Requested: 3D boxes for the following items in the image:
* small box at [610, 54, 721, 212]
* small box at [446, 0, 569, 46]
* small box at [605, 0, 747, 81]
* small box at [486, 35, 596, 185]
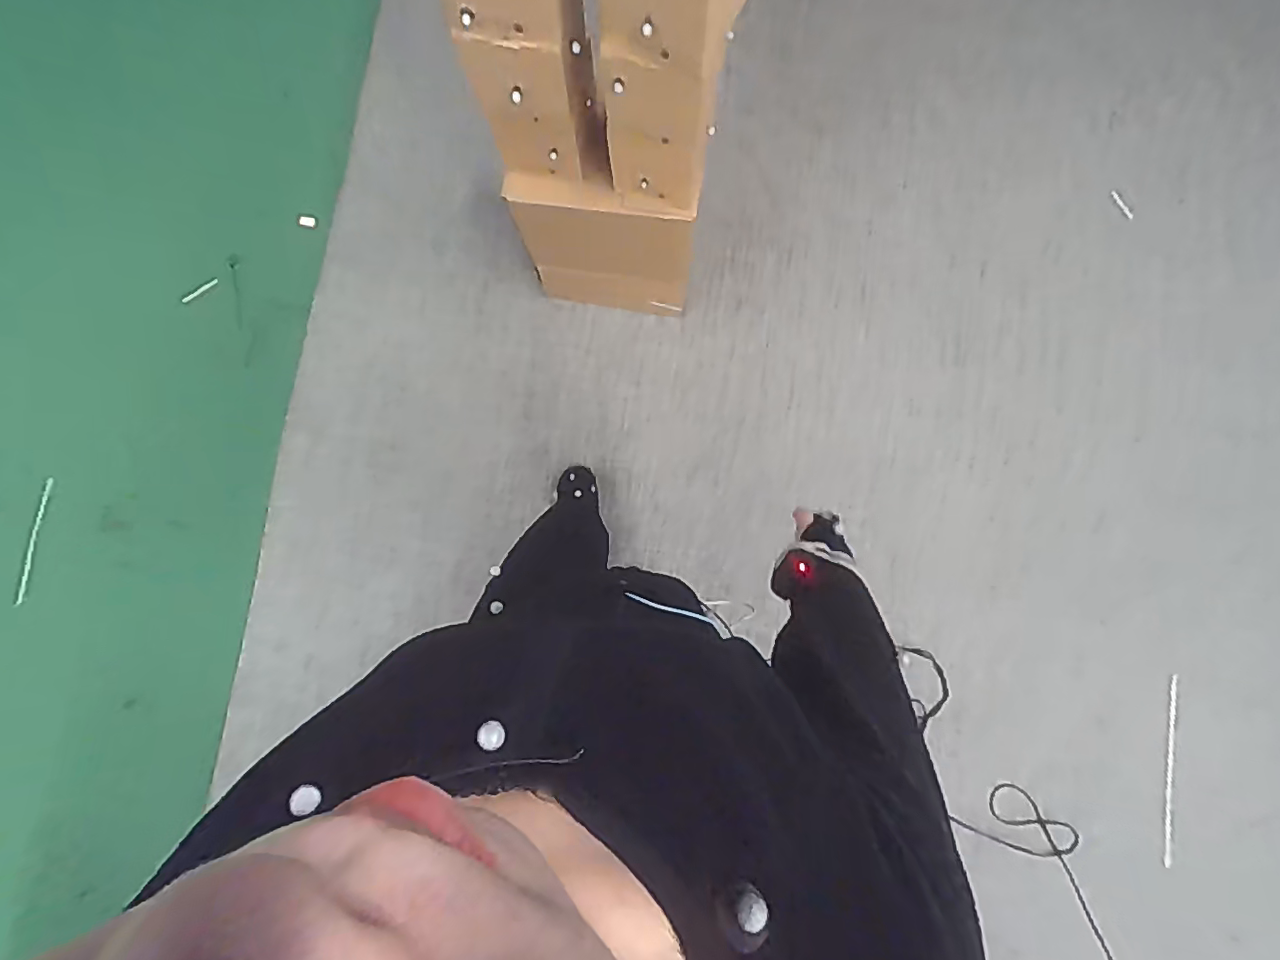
[{"bbox_3d":[0.047,-0.659,1.040,0.168,0.176,0.179,15,85,3],"label":"small box"},{"bbox_3d":[-0.181,-0.736,0.725,0.168,0.176,0.179,8,84,0],"label":"small box"},{"bbox_3d":[0.056,-0.691,0.712,0.168,0.176,0.179,27,86,4],"label":"small box"},{"bbox_3d":[-0.182,-0.712,1.052,0.168,0.176,0.179,10,85,0],"label":"small box"}]
